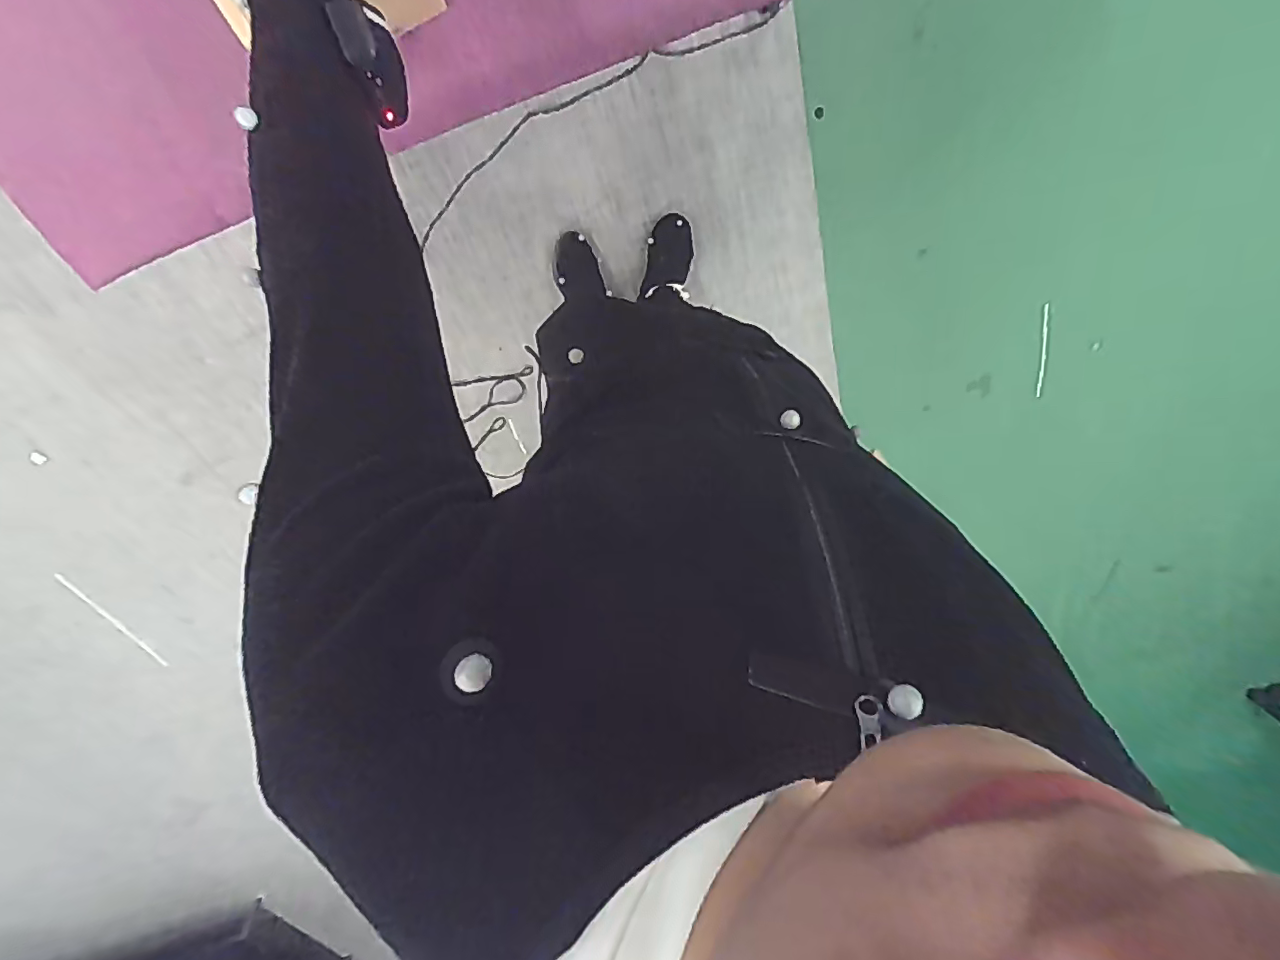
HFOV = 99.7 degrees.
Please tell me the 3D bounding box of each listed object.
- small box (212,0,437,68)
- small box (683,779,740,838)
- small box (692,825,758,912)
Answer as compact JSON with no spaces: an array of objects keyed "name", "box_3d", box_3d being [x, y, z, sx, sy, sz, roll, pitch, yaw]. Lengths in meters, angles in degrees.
[{"name":"small box","box_3d":[-0.313,-0.516,0.488,0.168,0.176,0.179,-22,121,6]},{"name":"small box","box_3d":[0.265,1.223,1.955,0.168,0.176,0.179,-17,120,1]},{"name":"small box","box_3d":[0.284,1.299,1.813,0.168,0.176,0.179,-17,119,2]}]
